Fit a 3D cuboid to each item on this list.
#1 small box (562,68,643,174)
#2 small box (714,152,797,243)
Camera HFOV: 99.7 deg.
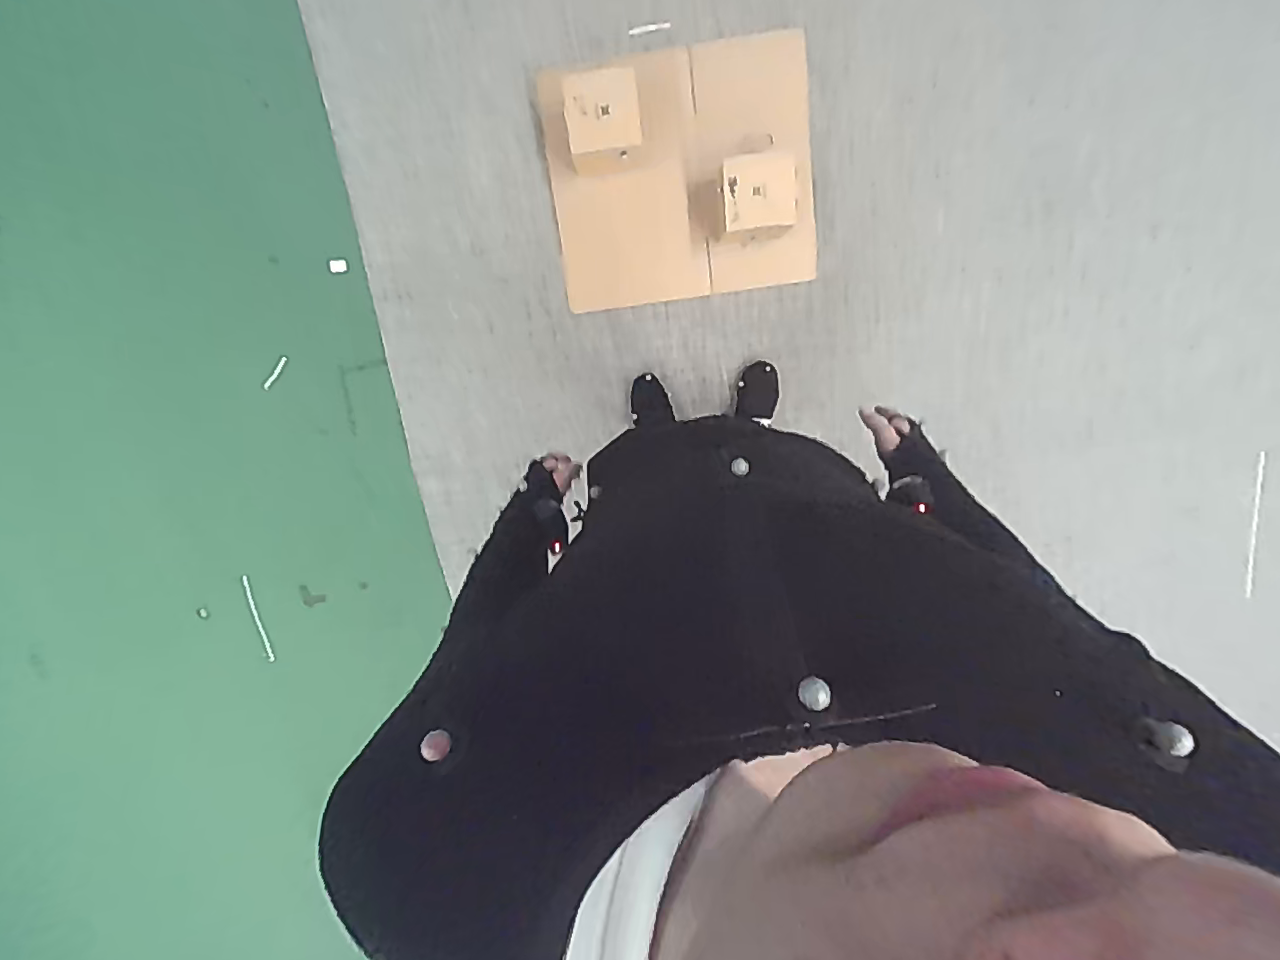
[{"bbox_3d":[-0.087,-0.878,1.336,0.179,0.176,0.168,-6,103,3],"label":"small box"},{"bbox_3d":[0.289,-0.711,1.374,0.179,0.176,0.168,-5,103,2],"label":"small box"}]
